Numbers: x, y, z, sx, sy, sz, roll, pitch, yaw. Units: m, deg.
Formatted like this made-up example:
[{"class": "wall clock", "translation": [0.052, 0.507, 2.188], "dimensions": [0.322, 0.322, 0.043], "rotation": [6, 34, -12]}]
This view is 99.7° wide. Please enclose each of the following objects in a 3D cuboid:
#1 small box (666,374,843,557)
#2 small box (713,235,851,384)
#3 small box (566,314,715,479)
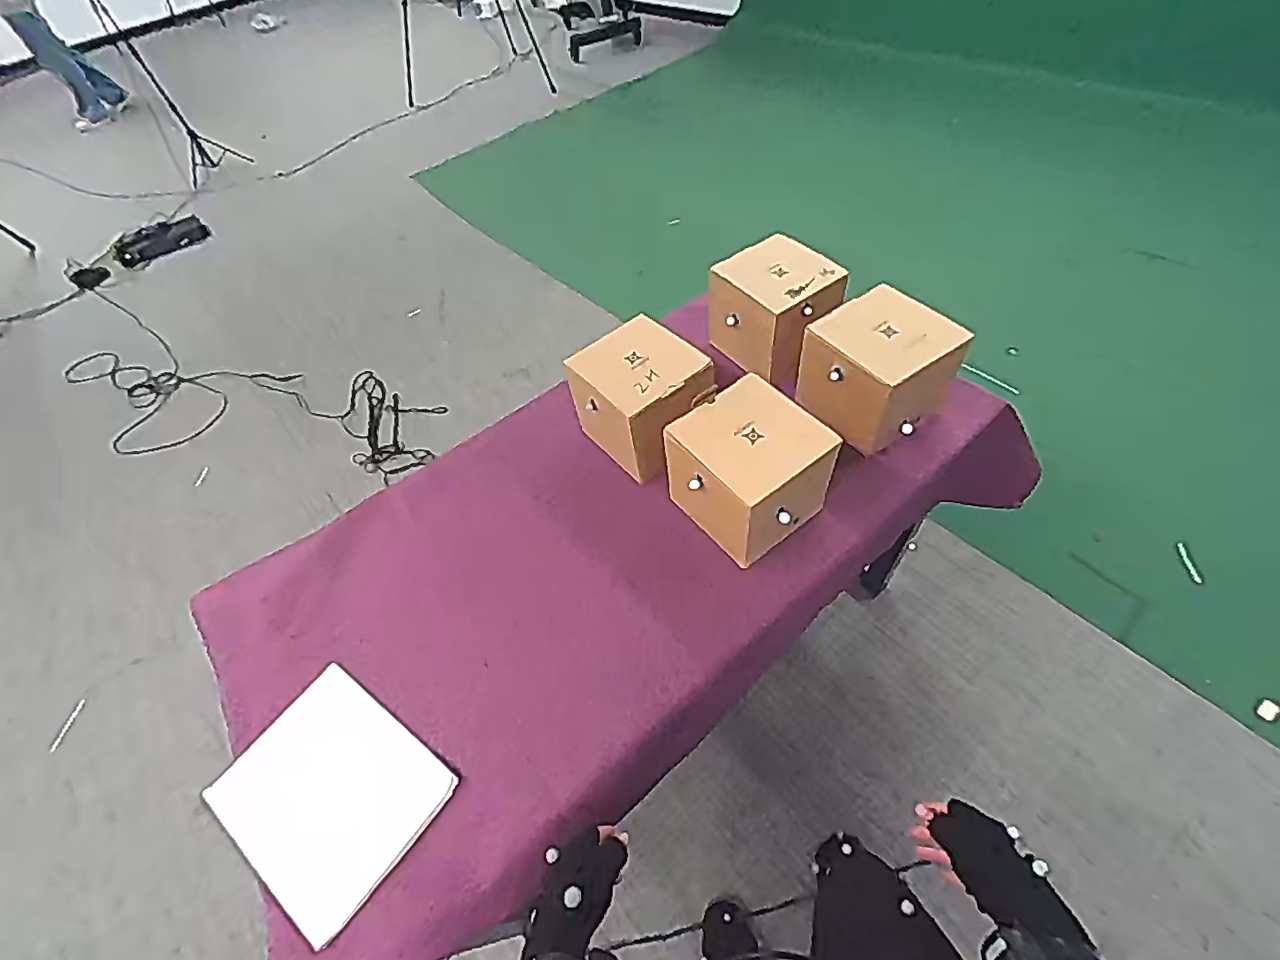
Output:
[{"class": "small box", "translation": [0.158, -0.012, 0.782], "dimensions": [0.168, 0.176, 0.179], "rotation": [-33, 57, -15]}, {"class": "small box", "translation": [0.247, -0.308, 0.985], "dimensions": [0.168, 0.176, 0.179], "rotation": [-32, 56, -14]}, {"class": "small box", "translation": [0.005, -0.134, 0.890], "dimensions": [0.168, 0.176, 0.179], "rotation": [-35, 58, -17]}]
